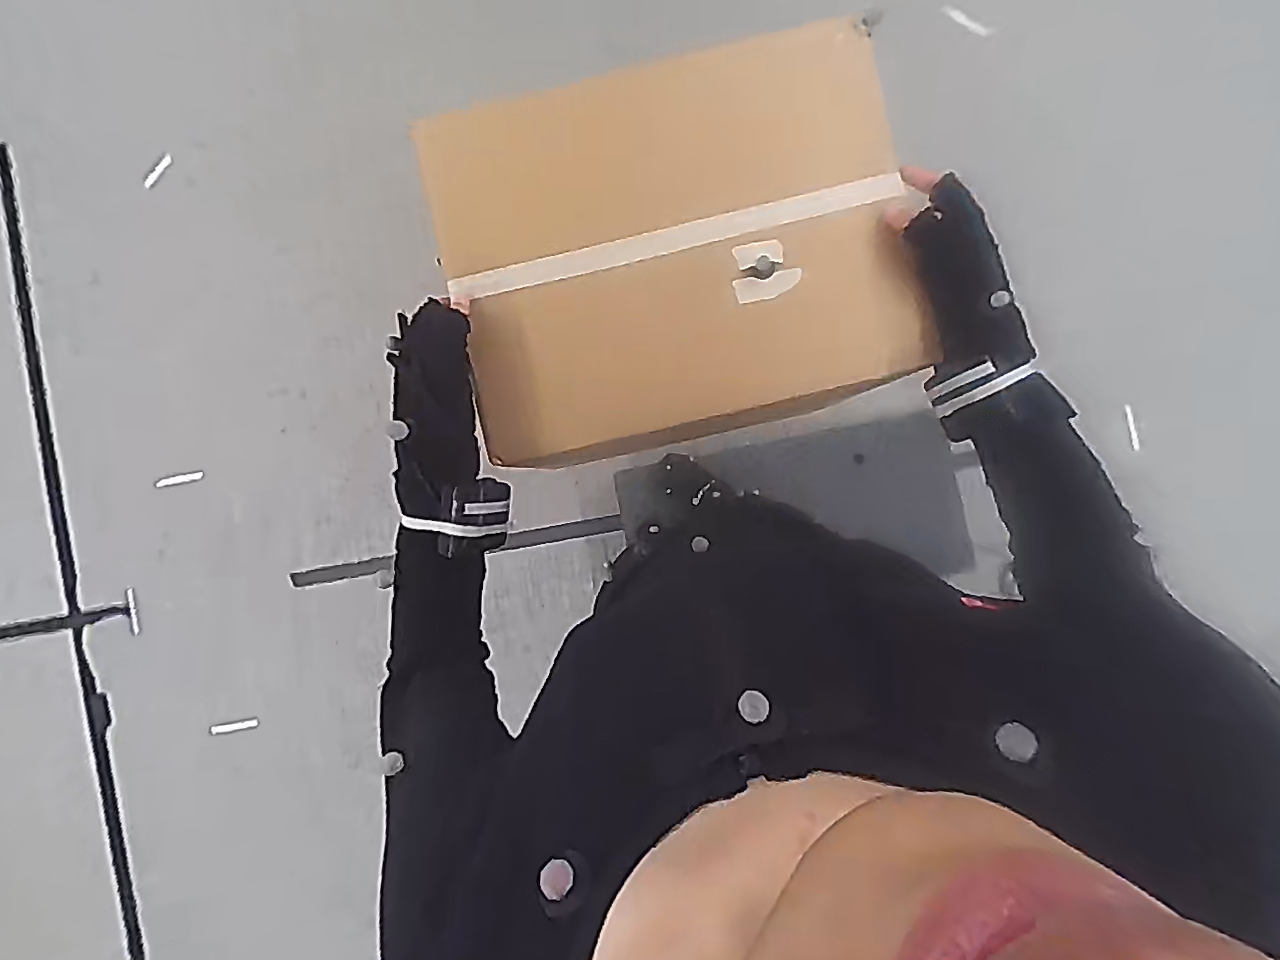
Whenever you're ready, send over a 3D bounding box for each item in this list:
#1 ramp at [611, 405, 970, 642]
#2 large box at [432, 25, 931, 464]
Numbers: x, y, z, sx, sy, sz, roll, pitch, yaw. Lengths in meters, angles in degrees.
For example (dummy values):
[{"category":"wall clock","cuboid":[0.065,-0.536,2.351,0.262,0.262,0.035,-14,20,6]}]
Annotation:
[{"category":"ramp","cuboid":[0.449,0.106,1.551,0.991,0.206,0.509,-14,87,2]},{"category":"large box","cuboid":[0.036,-0.216,0.634,0.408,0.320,0.320,-13,90,0]}]
